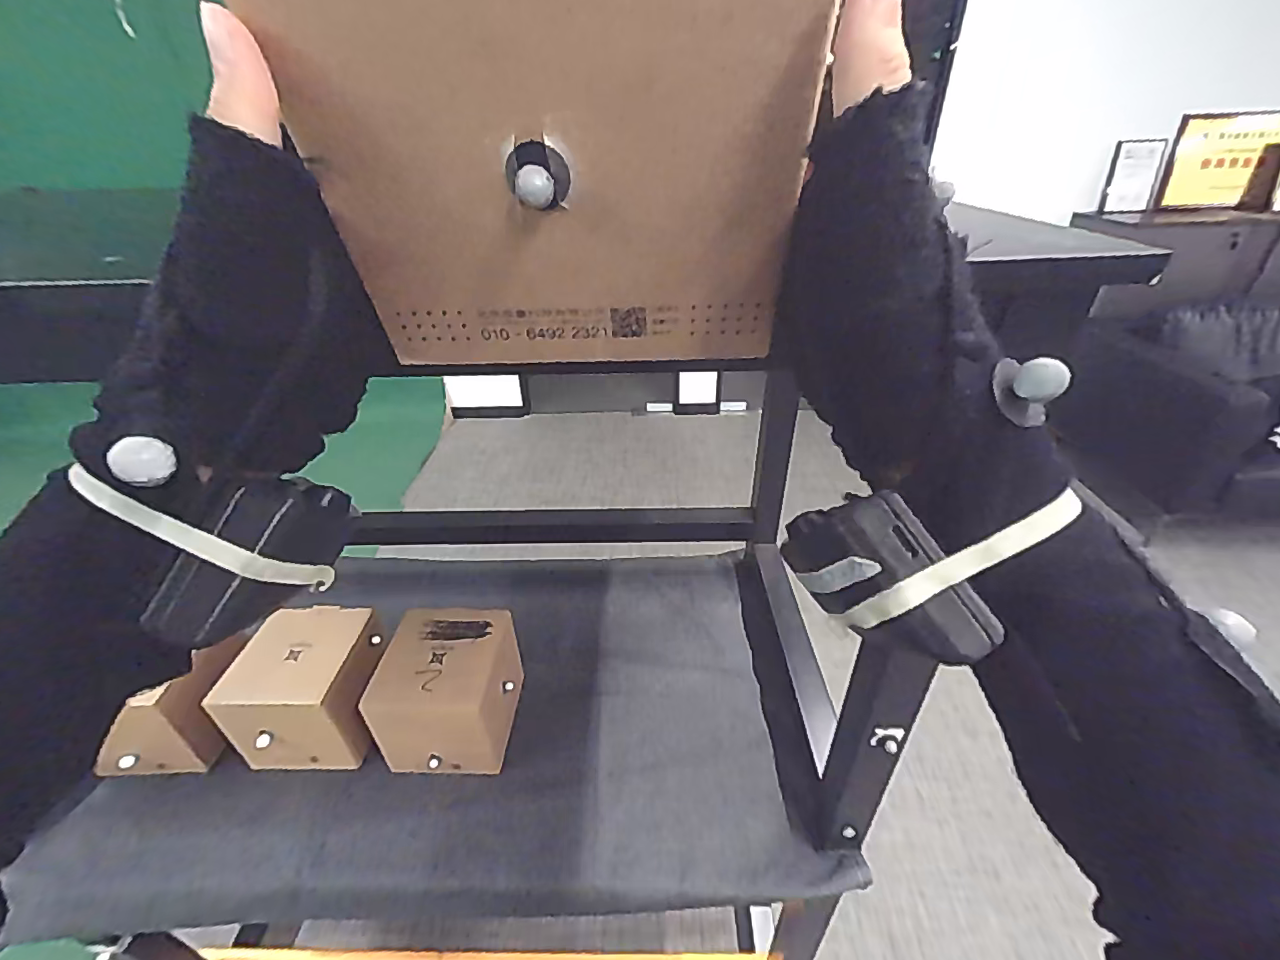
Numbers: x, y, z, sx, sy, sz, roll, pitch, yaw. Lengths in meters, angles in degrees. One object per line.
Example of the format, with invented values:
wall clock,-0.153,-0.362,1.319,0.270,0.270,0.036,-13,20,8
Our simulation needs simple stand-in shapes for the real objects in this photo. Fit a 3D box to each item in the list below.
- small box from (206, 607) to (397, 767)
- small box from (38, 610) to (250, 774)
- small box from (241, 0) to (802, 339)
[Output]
small box,-0.501,0.320,0.837,0.168,0.176,0.179,0,32,1
small box,-0.728,0.324,0.836,0.168,0.176,0.179,-2,33,0
small box,-0.030,-0.176,0.232,0.168,0.176,0.179,-1,51,1
